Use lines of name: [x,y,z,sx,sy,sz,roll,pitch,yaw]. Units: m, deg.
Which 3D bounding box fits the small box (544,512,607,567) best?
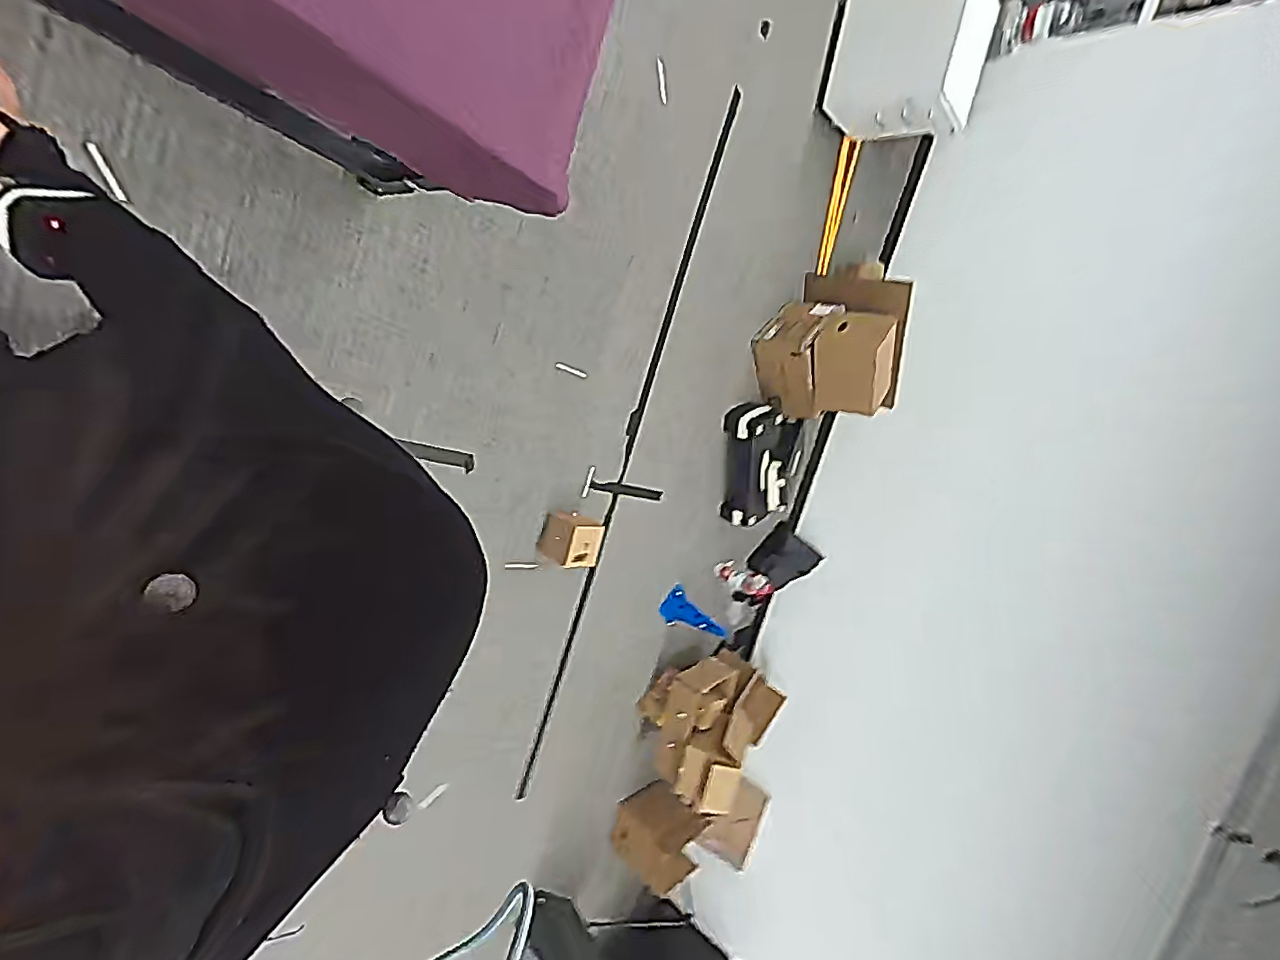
small box: [-0.269,0.242,2.210,0.168,0.176,0.179,7,101,-50]
